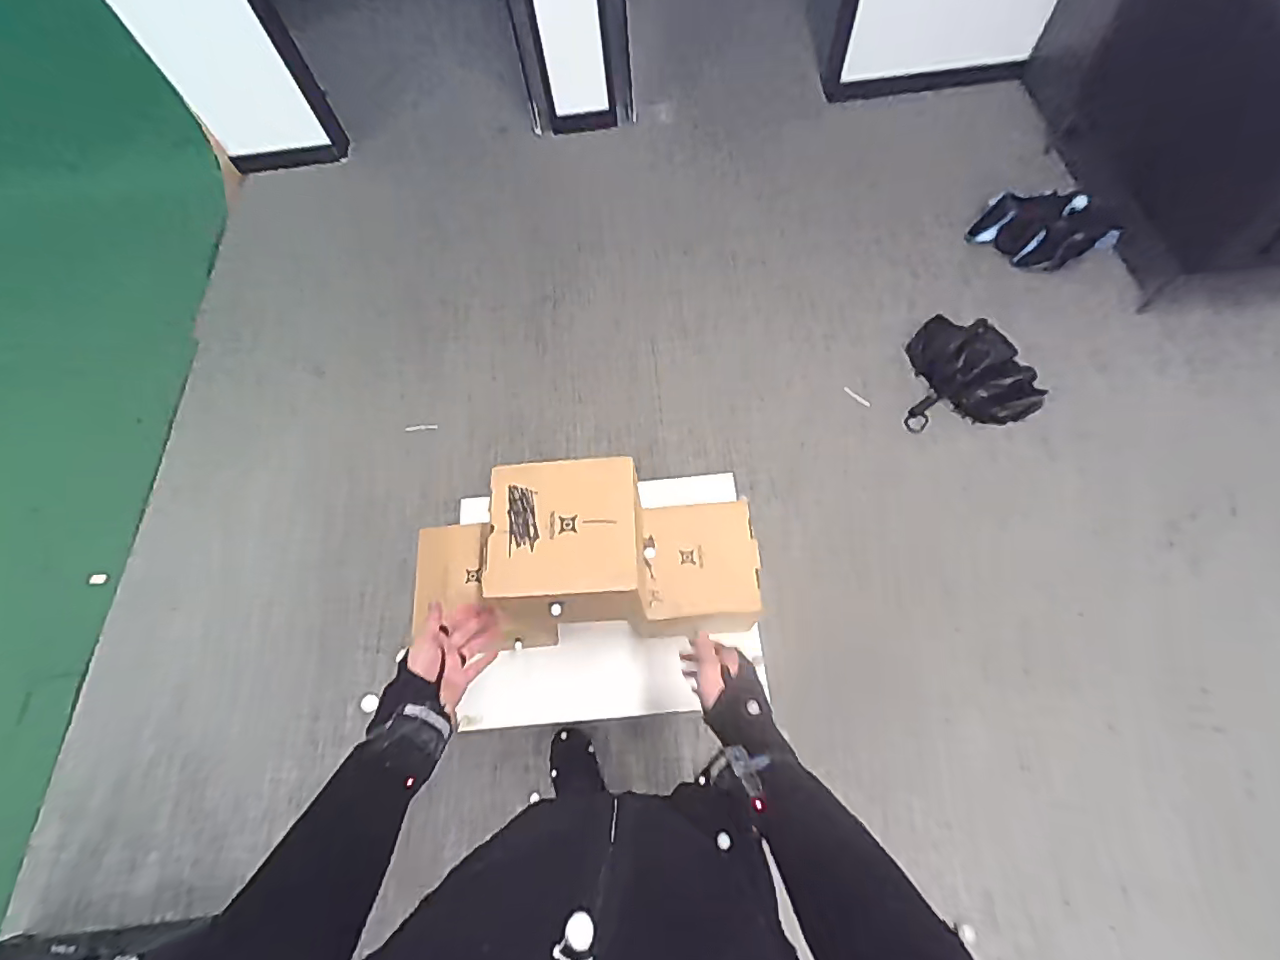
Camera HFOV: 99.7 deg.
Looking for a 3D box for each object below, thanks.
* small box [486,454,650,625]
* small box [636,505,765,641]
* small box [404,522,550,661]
[{"bbox_3d":[-0.079,0.082,0.680,0.179,0.176,0.168,-3,64,0],"label":"small box"},{"bbox_3d":[0.080,0.148,0.828,0.179,0.176,0.168,-4,64,0],"label":"small box"},{"bbox_3d":[-0.233,0.171,0.821,0.179,0.176,0.168,-6,63,-2],"label":"small box"}]
